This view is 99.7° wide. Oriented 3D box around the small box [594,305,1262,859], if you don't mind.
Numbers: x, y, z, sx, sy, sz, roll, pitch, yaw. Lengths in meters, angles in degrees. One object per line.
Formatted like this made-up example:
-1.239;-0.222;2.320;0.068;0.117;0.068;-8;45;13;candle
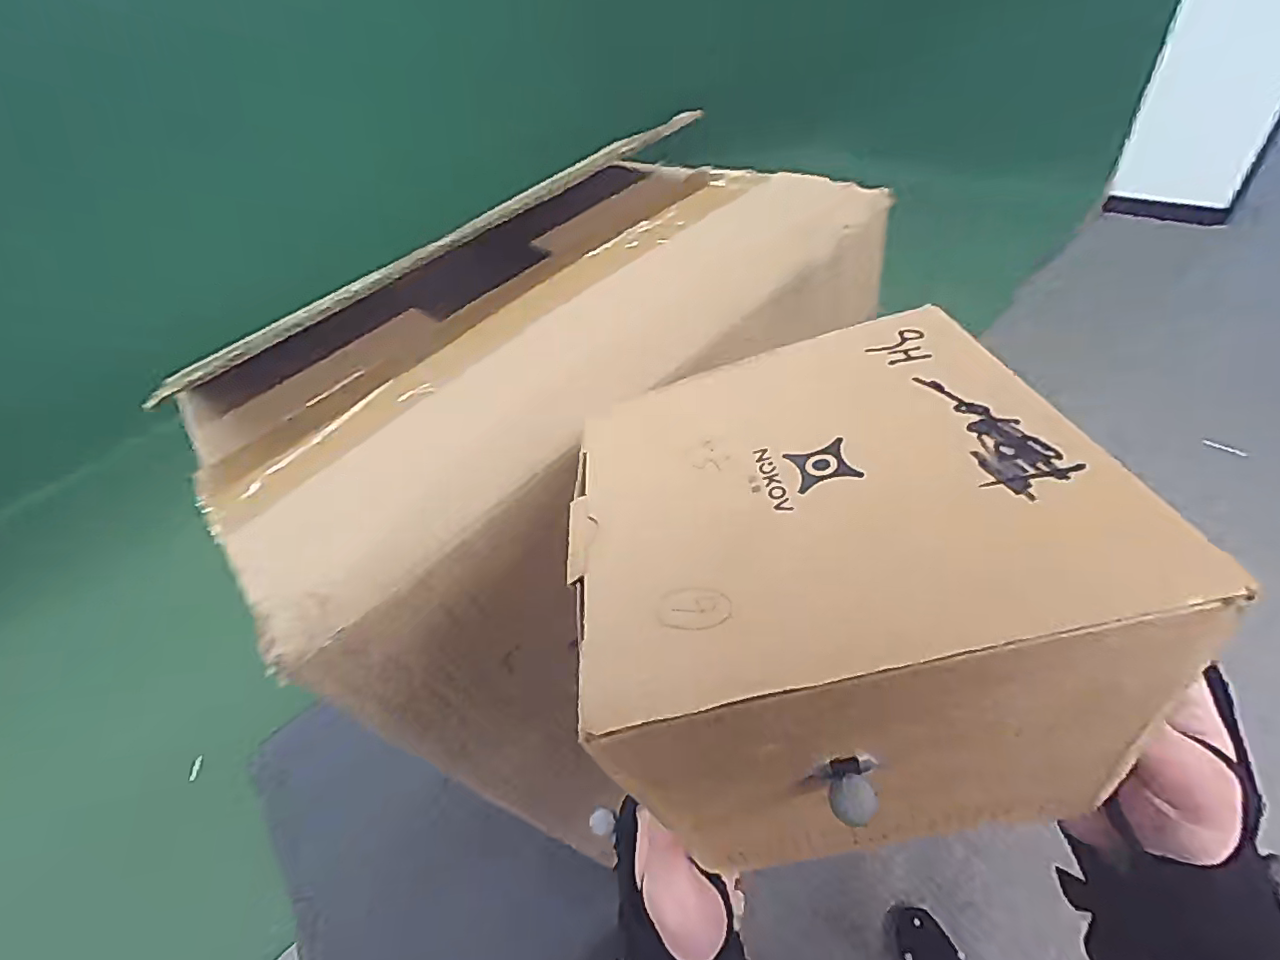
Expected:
0.090;0.054;0.253;0.179;0.176;0.168;-16;42;10;small box
